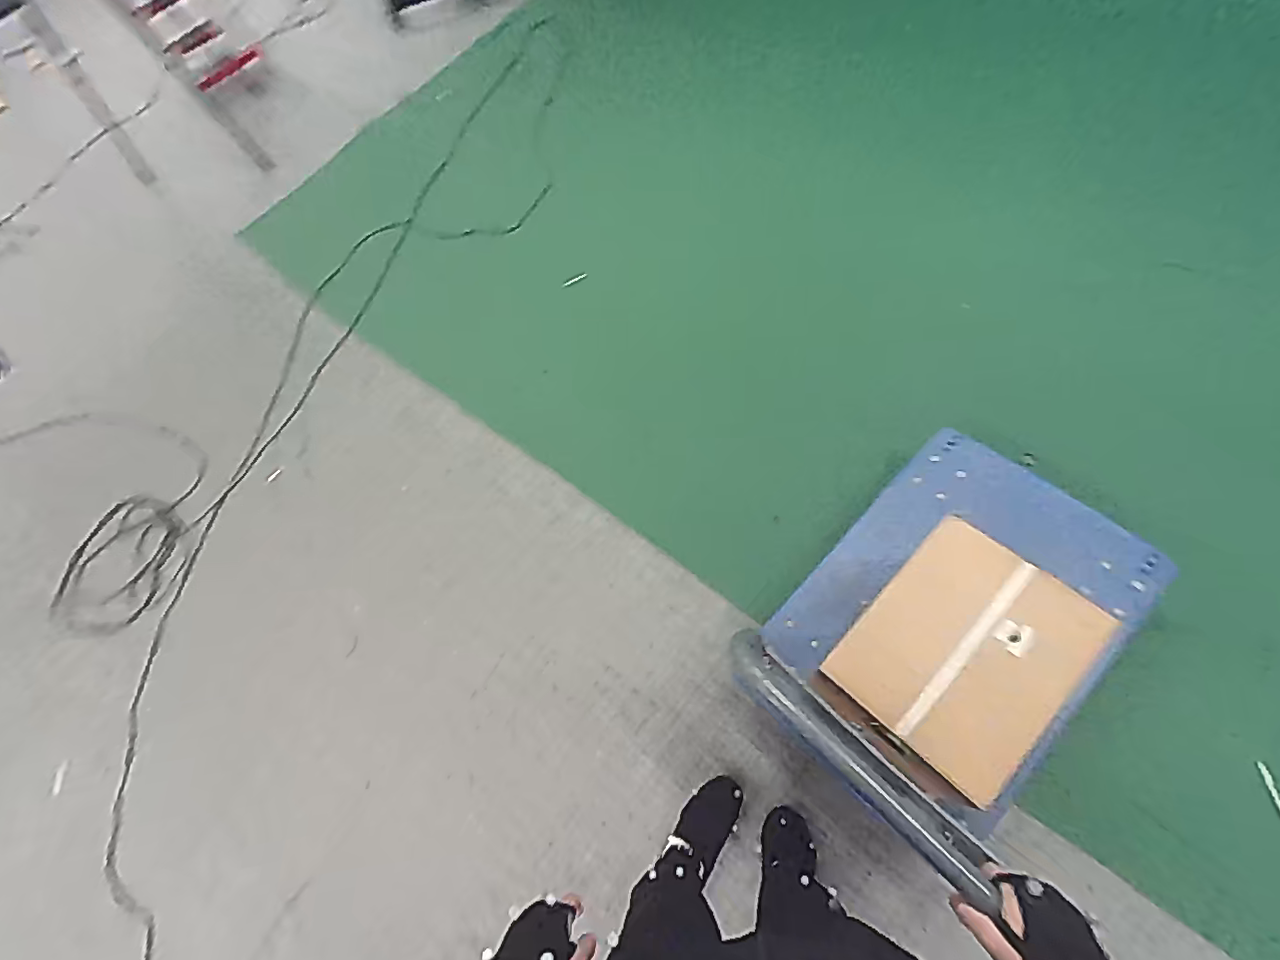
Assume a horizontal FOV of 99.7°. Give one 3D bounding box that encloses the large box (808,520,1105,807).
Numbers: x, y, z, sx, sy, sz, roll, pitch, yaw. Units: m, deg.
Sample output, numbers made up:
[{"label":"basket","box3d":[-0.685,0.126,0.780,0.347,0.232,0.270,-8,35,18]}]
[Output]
[{"label":"large box","box3d":[0.594,0.366,1.091,0.408,0.320,0.320,-44,65,-11]}]
